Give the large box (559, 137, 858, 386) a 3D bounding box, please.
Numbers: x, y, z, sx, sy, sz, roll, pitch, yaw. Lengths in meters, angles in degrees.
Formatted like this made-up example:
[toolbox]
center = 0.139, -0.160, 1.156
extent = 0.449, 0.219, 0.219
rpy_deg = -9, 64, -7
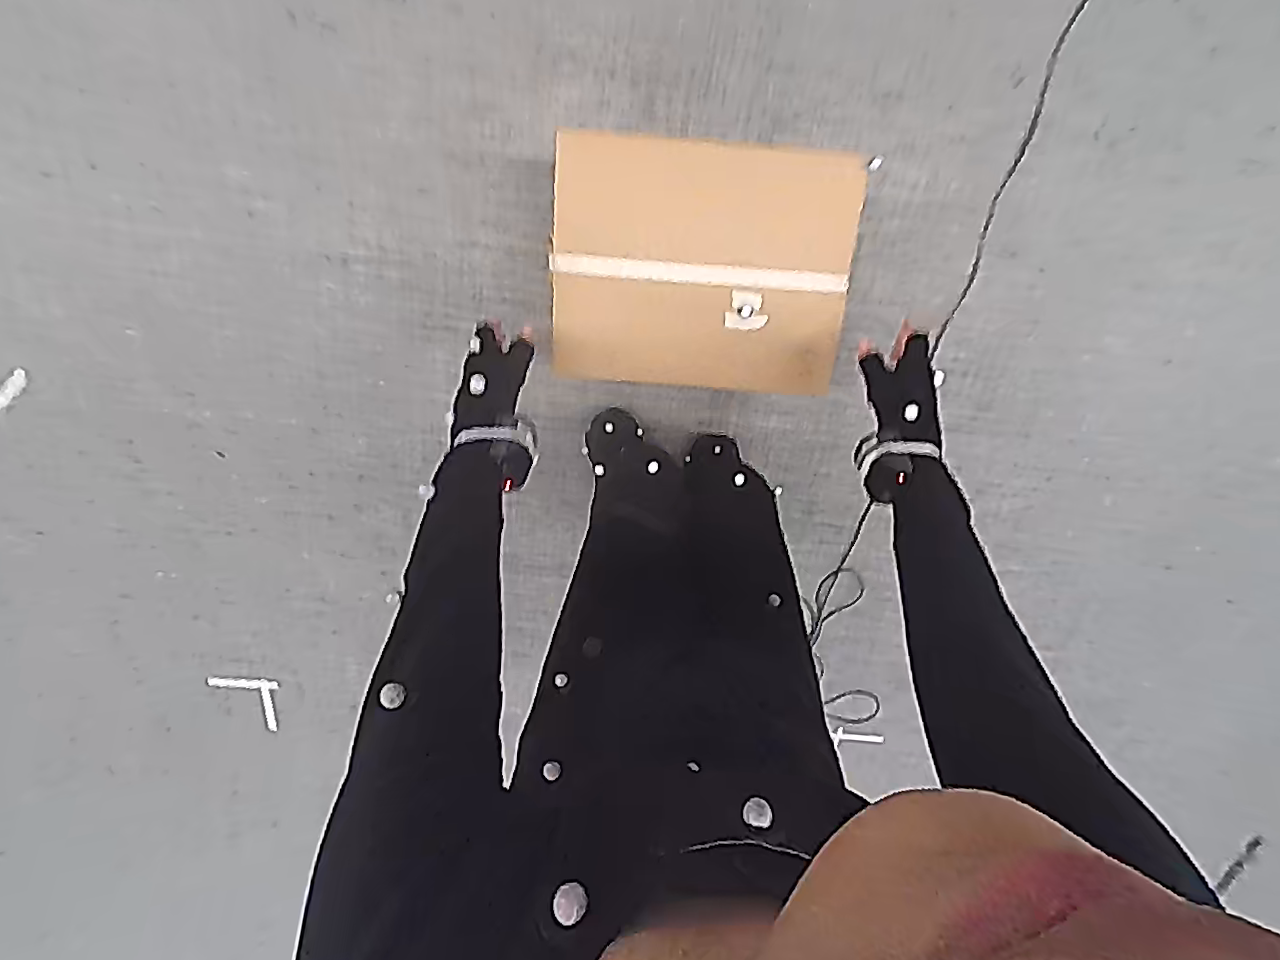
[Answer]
[large box]
center = 0.082, -0.344, 0.901
extent = 0.408, 0.320, 0.320
rpy_deg = 3, 110, -2
